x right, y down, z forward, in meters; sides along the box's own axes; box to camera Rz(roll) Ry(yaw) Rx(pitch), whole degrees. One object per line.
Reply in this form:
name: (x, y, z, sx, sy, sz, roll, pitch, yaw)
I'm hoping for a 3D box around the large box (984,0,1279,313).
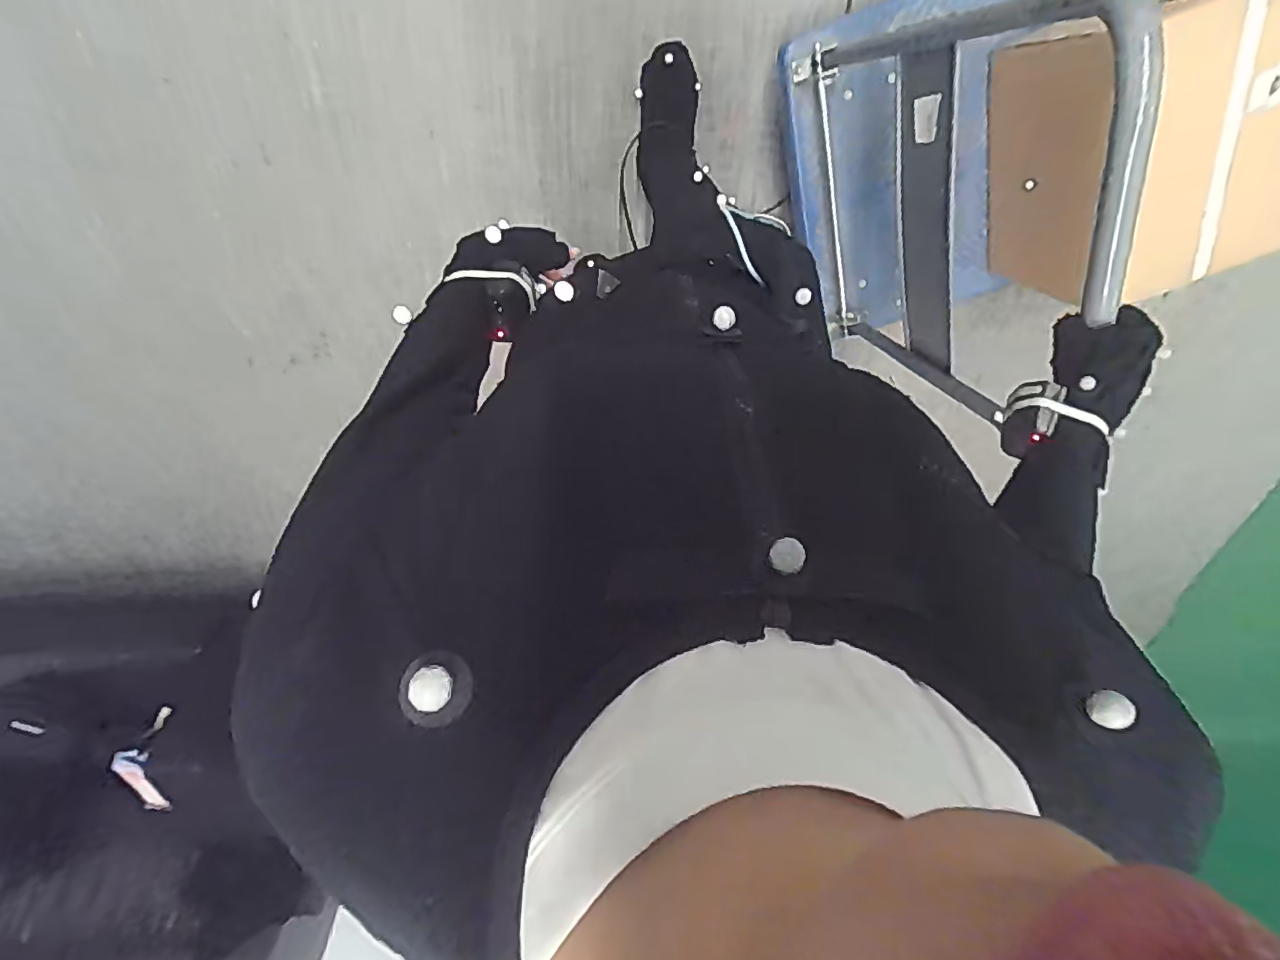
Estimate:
large box: (0.832, -0.566, 0.921, 0.320, 0.320, 0.408, -20, 123, 8)
